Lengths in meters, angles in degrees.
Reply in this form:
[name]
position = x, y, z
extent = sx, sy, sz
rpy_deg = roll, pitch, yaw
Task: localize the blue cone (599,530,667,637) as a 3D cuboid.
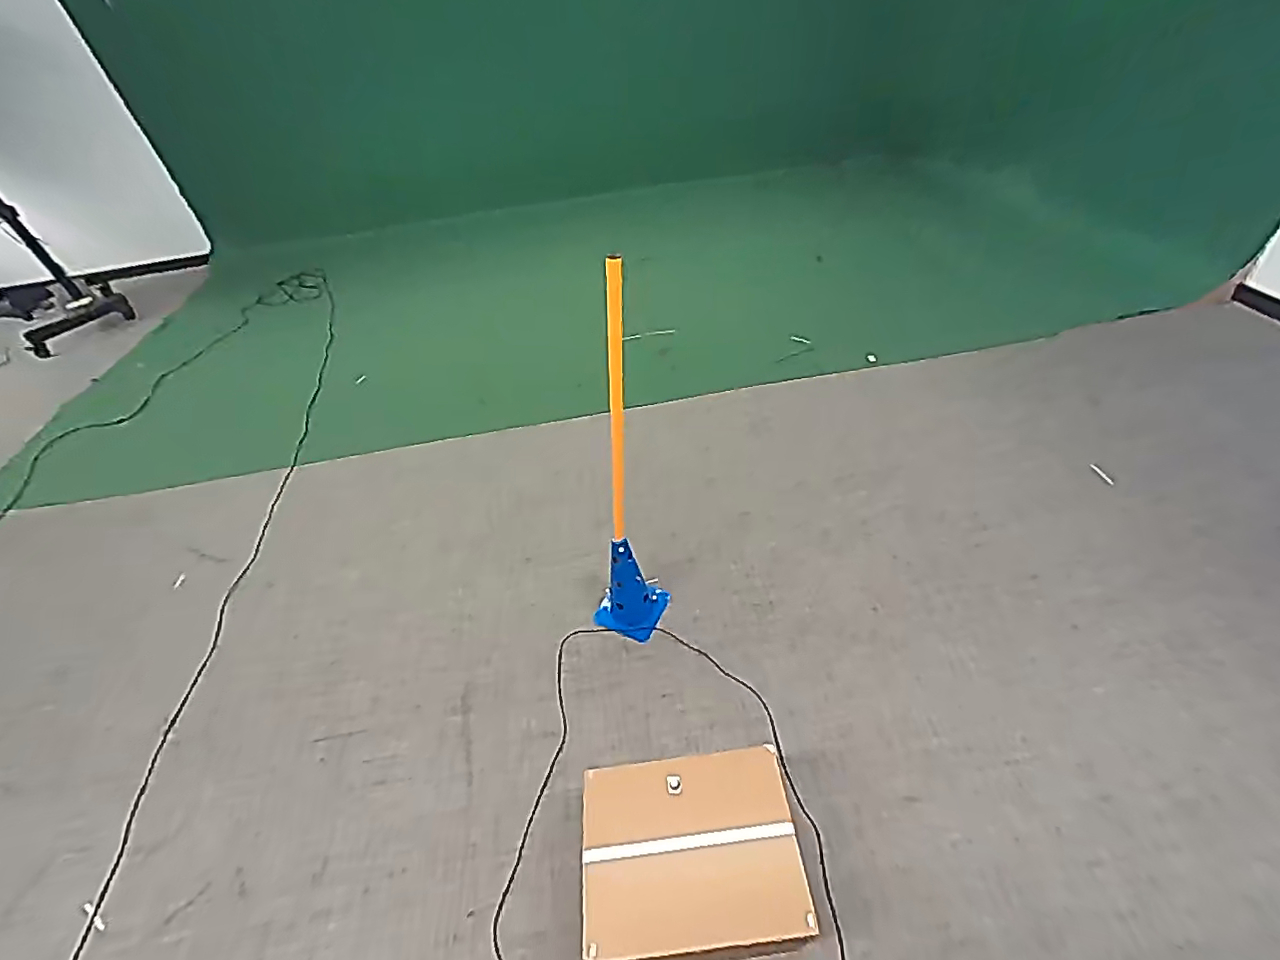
[blue cone]
position = -0.039, 0.288, 1.636
extent = 0.192, 0.380, 0.193
rpy_deg = 14, 47, 21
